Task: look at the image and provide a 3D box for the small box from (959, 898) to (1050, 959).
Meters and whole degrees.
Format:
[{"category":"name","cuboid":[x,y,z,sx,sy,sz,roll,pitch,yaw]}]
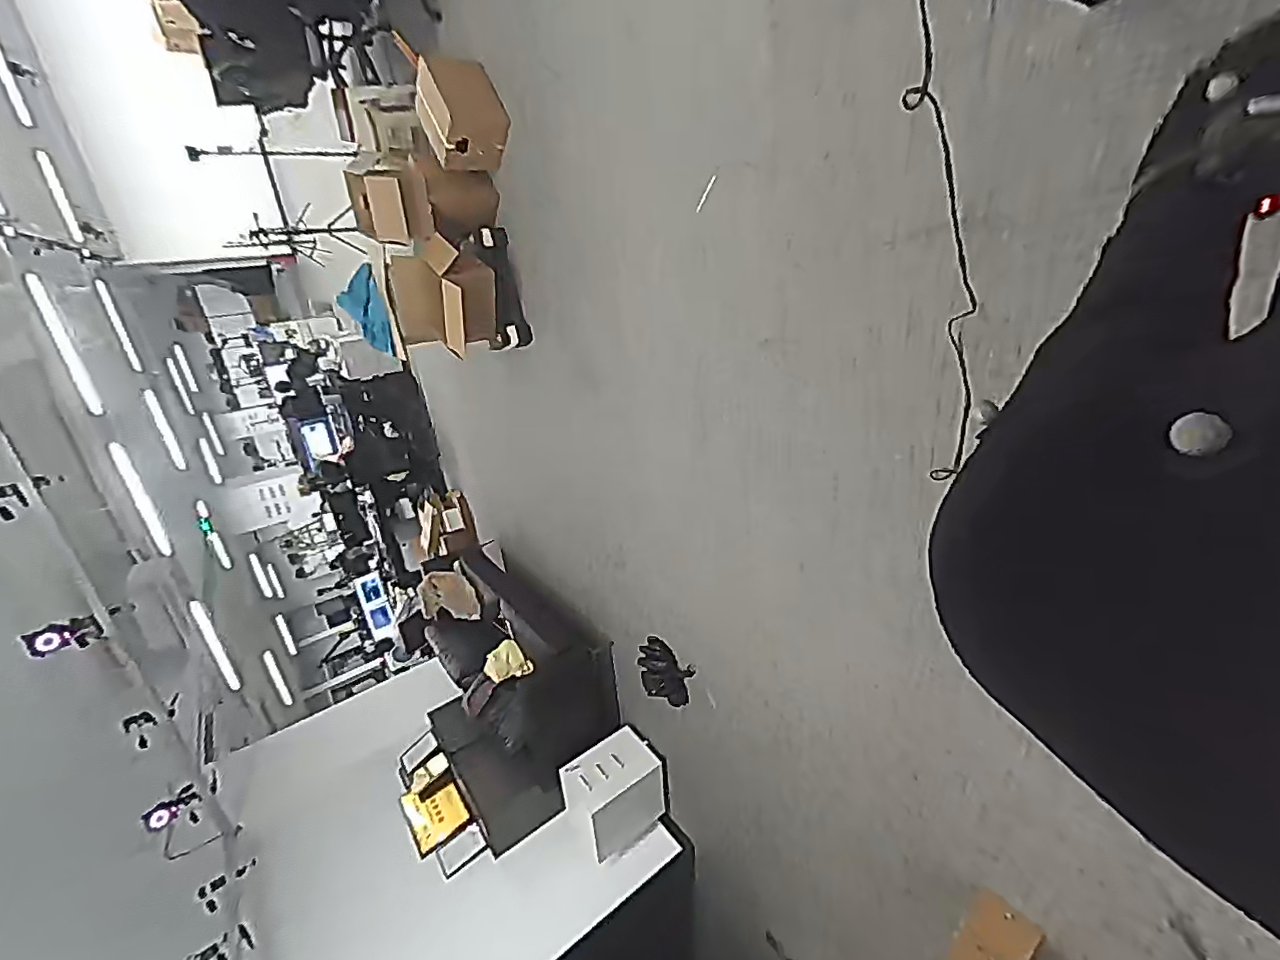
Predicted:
[{"category":"small box","cuboid":[1.164,1.496,1.733,0.179,0.176,0.168,30,131,46]}]
